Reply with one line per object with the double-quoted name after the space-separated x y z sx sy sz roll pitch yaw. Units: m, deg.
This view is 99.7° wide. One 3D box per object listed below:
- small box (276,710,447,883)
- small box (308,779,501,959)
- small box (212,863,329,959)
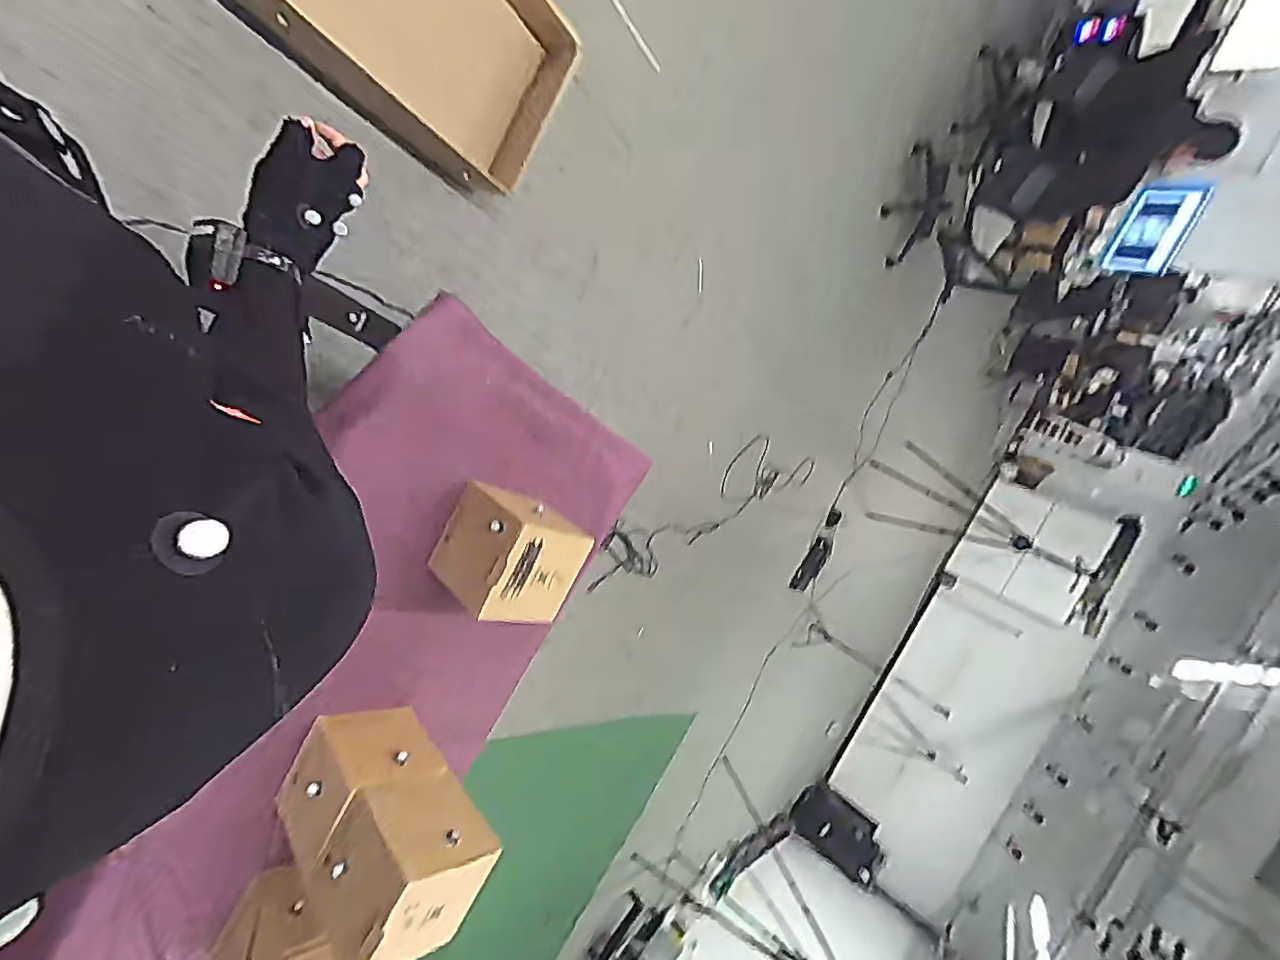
-0.471 0.515 0.911 0.179 0.176 0.168 25 94 -54 "small box"
-0.354 0.584 0.817 0.179 0.176 0.168 30 89 -53 "small box"
-0.603 0.805 0.947 0.179 0.176 0.168 30 90 -53 "small box"
